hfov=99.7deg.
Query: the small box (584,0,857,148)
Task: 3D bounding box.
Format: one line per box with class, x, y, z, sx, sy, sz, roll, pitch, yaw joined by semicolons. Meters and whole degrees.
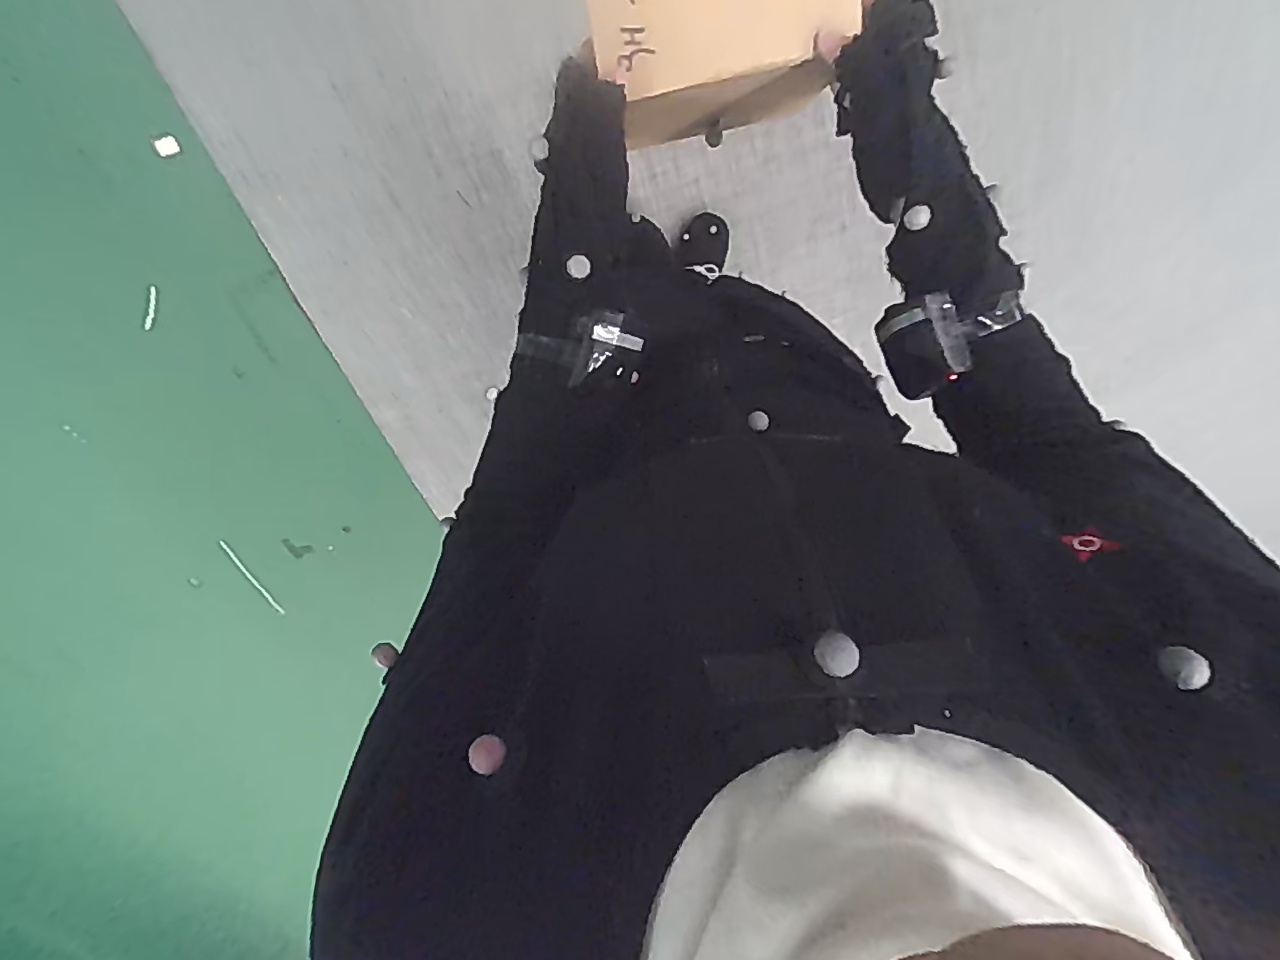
small box;0.045;-0.374;0.409;0.179;0.176;0.168;-9;110;4
